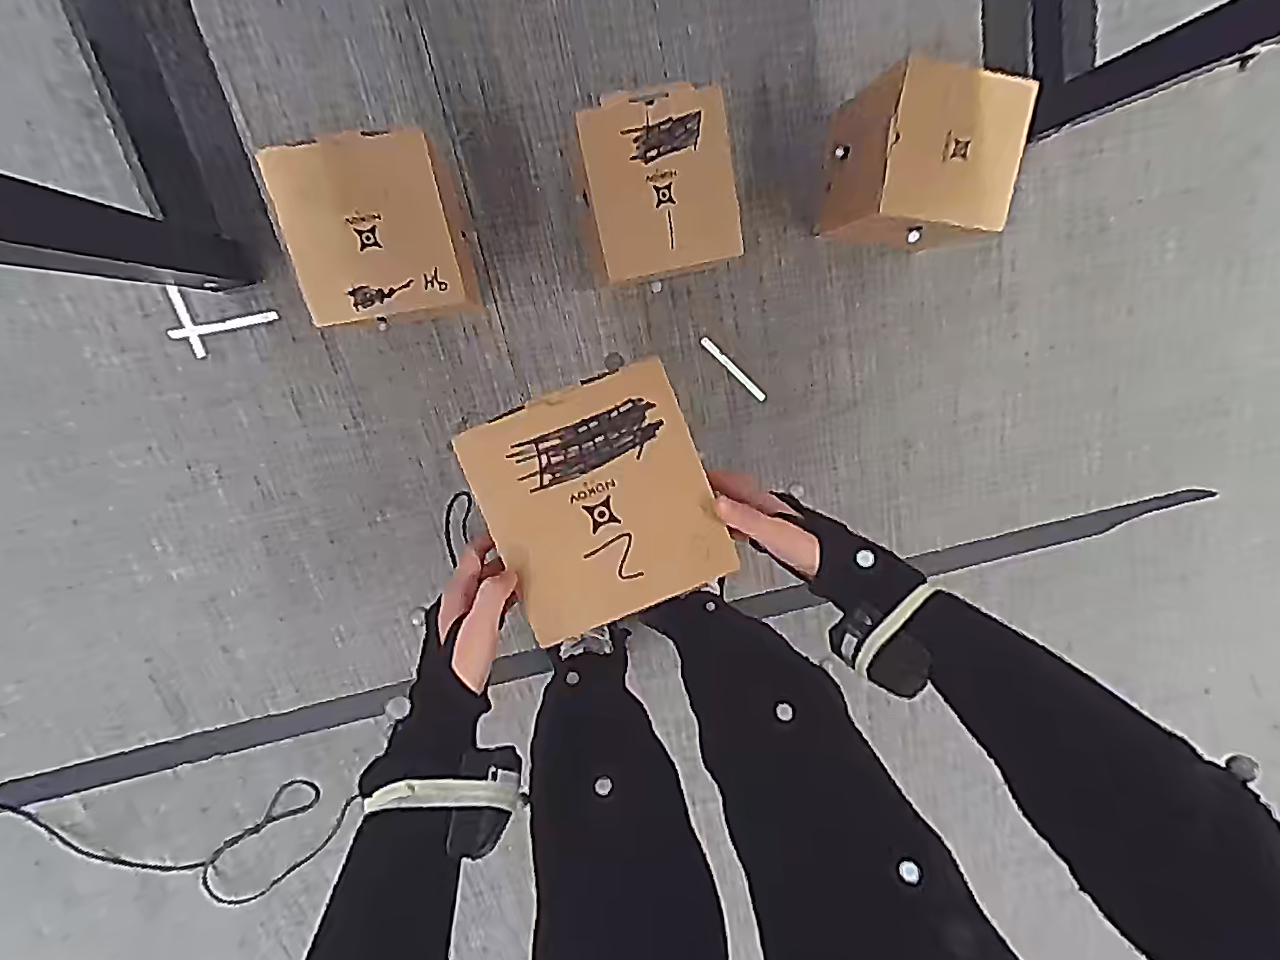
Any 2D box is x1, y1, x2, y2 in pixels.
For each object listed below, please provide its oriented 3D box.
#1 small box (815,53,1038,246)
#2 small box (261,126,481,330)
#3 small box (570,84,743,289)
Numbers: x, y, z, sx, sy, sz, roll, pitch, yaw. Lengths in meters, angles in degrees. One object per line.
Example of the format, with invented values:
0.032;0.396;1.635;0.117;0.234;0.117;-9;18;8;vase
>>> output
0.360;-0.414;0.712;0.179;0.176;0.168;3;105;-9;small box
-0.296;-0.281;0.639;0.168;0.176;0.179;-11;105;-6;small box
0.012;-0.347;0.671;0.168;0.176;0.179;-14;107;-5;small box
